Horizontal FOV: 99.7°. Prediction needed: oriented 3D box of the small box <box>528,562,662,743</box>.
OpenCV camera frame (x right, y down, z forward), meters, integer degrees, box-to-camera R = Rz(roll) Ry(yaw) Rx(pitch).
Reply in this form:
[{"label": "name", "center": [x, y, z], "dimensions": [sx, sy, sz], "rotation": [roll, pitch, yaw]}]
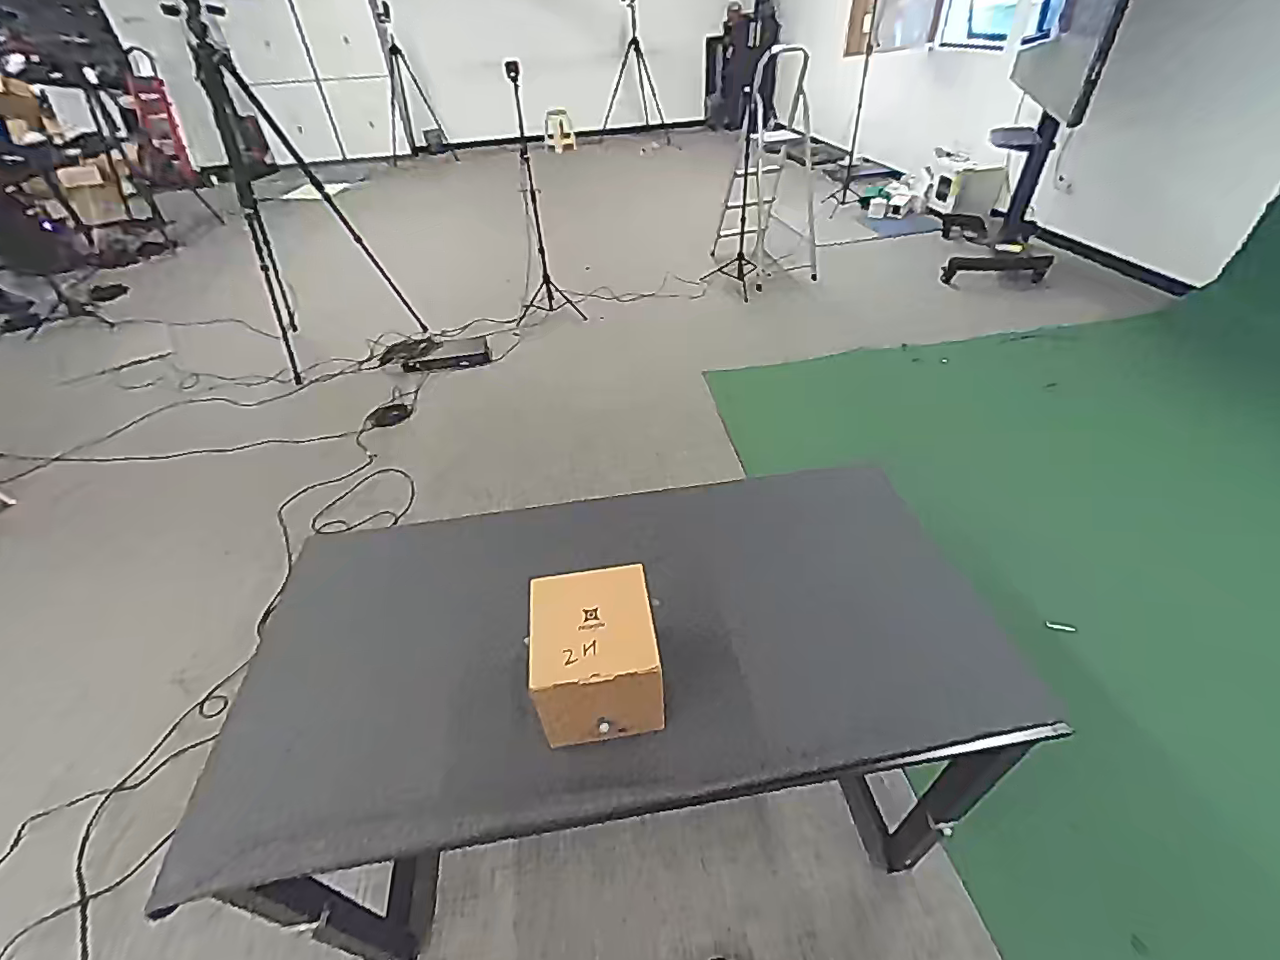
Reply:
[{"label": "small box", "center": [-0.062, 0.246, 0.778], "dimensions": [0.168, 0.176, 0.179], "rotation": [-8, 41, -4]}]
